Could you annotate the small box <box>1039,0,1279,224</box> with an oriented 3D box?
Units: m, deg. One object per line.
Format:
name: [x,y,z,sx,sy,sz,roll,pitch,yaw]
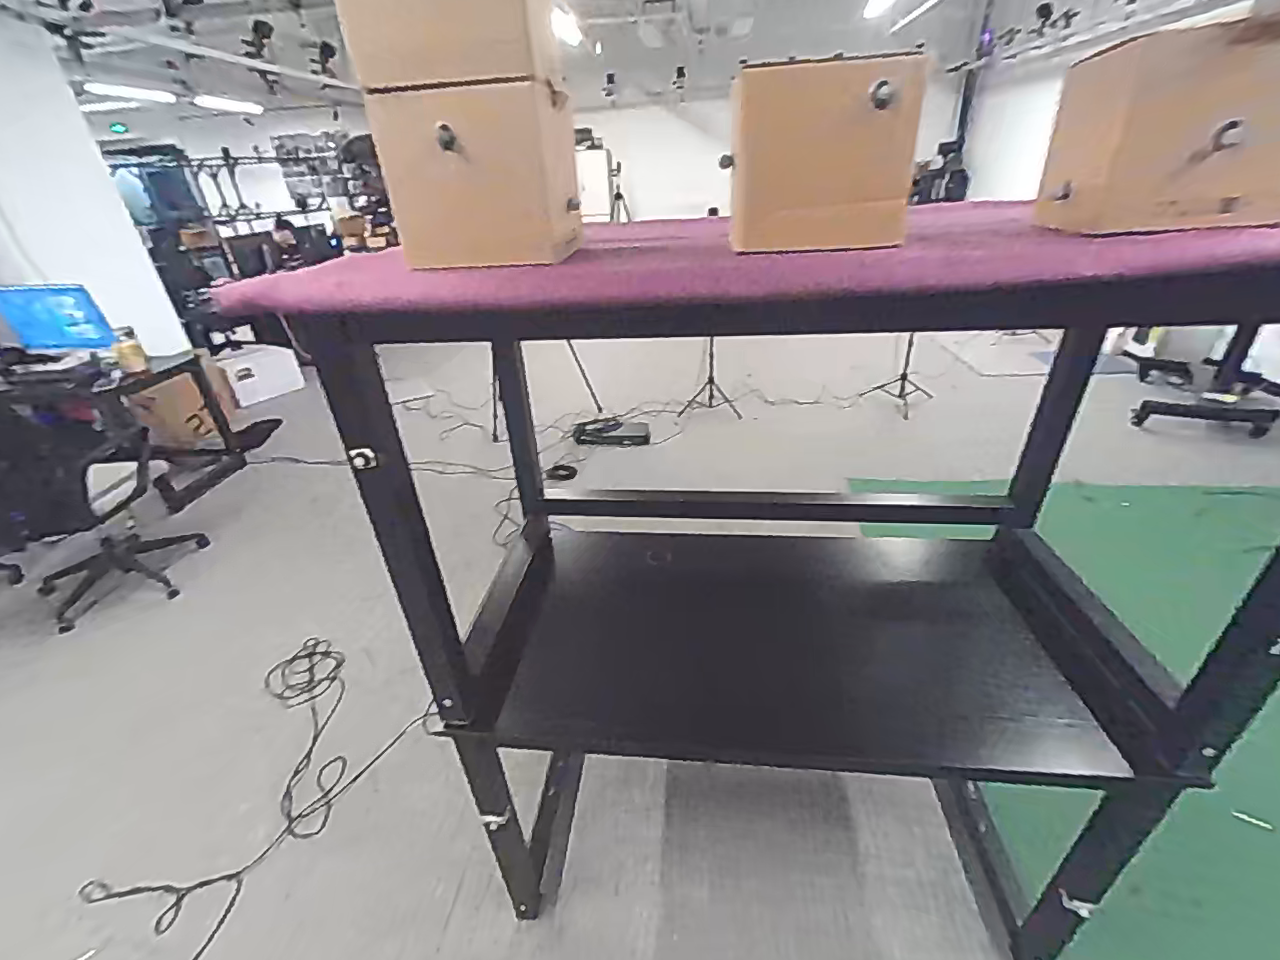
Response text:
small box: [0.548,-0.360,0.550,0.168,0.176,0.179,2,29,14]

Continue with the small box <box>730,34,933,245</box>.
small box: [0.189,-0.356,0.594,0.179,0.176,0.168,1,29,7]

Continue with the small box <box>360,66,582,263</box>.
small box: [-0.173,-0.351,0.619,0.179,0.176,0.168,0,31,6]
